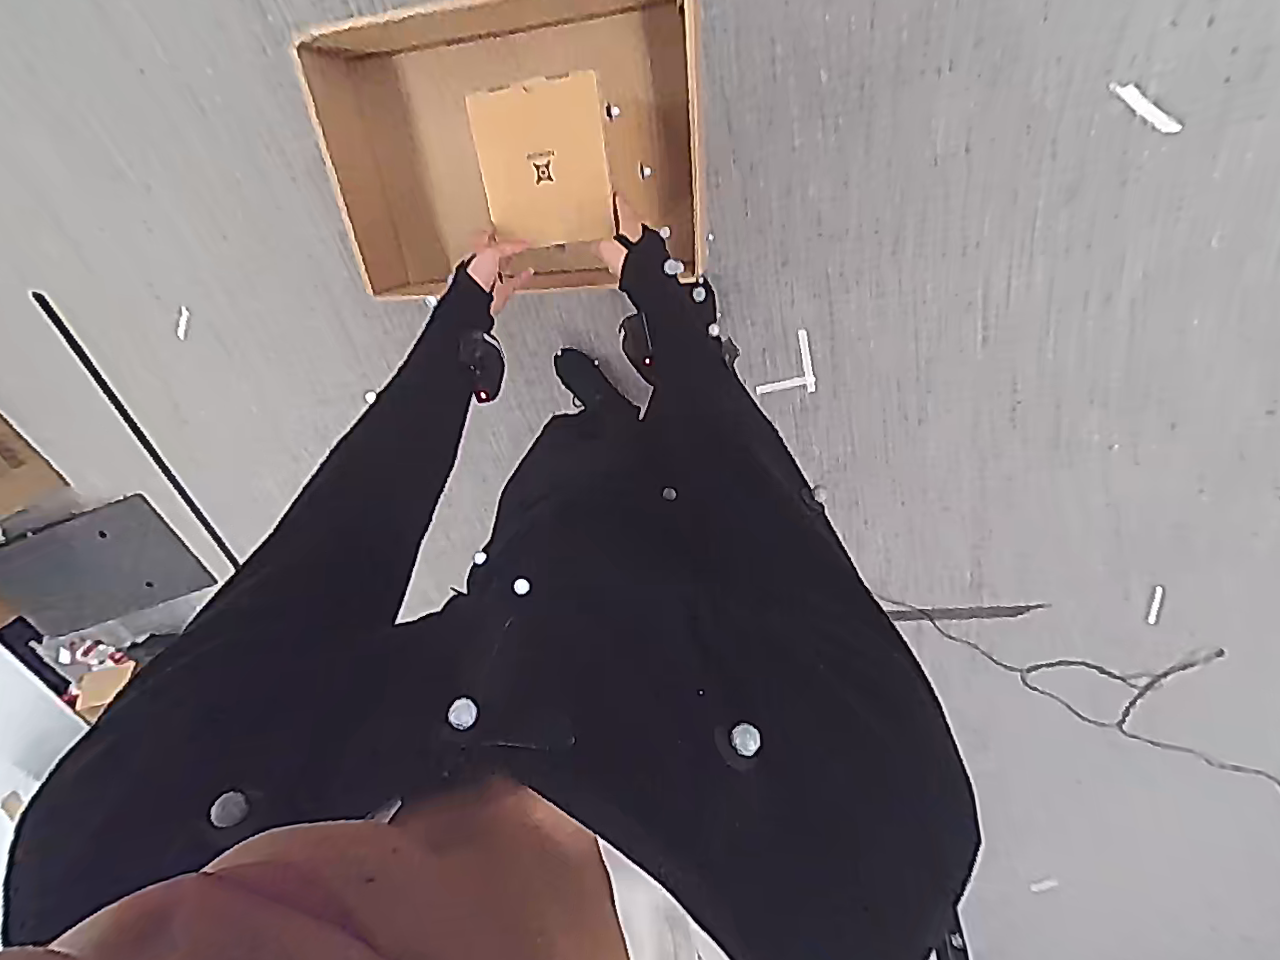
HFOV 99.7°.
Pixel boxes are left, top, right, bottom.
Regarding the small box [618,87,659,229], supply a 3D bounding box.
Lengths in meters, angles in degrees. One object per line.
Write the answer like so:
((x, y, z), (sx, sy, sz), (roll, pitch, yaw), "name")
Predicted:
((-0.069, -0.492, 0.854), (0.168, 0.176, 0.179), (-1, 118, 14), "small box")

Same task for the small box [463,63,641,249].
((-0.101, -0.415, 0.713), (0.168, 0.176, 0.179), (-1, 117, 14), "small box")
